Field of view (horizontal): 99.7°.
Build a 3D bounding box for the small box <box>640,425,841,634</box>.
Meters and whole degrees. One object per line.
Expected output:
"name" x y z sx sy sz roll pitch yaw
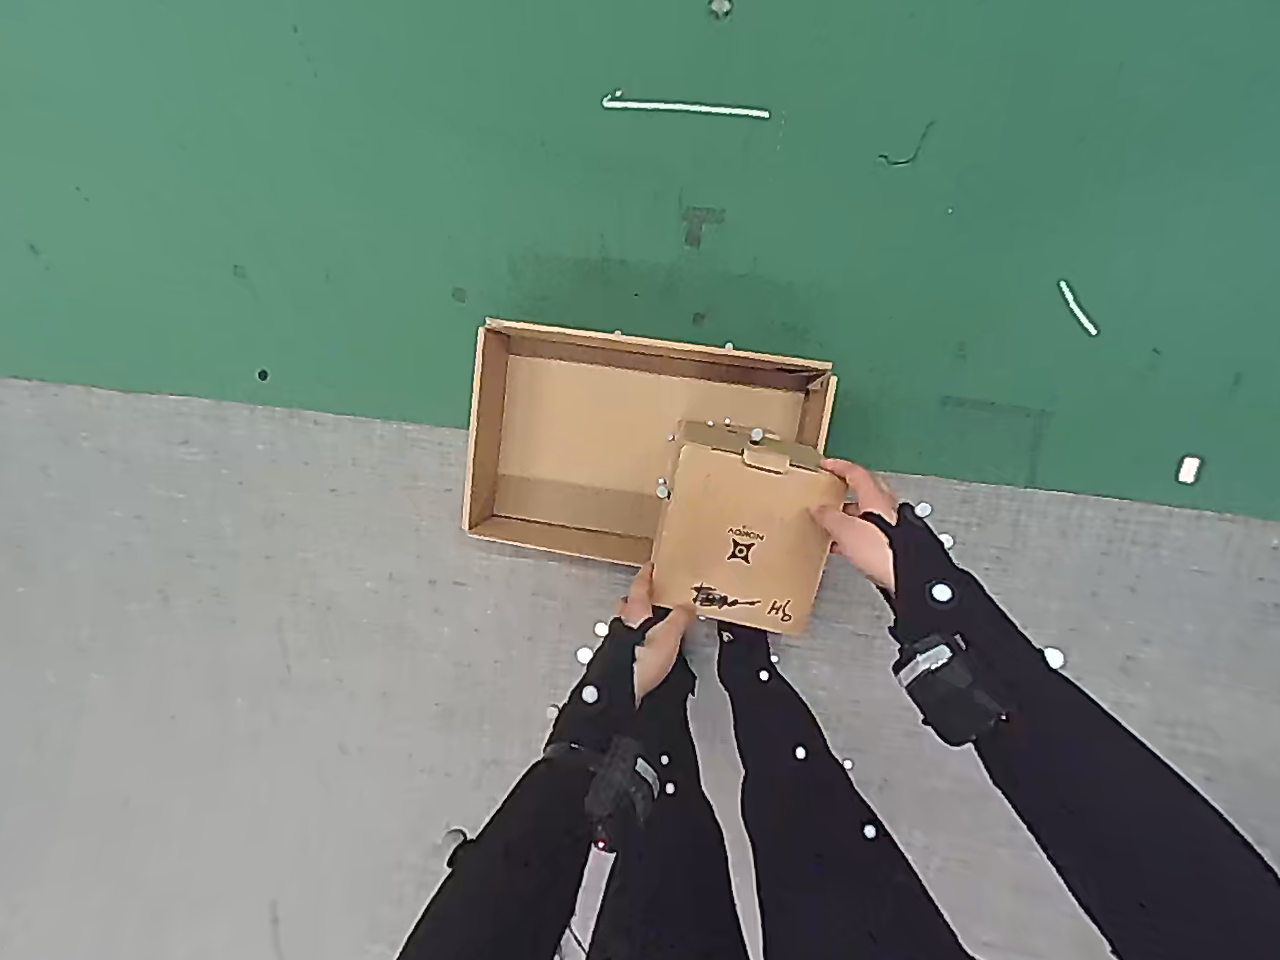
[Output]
"small box" 0.101 0.041 0.609 0.168 0.176 0.179 12 103 2
